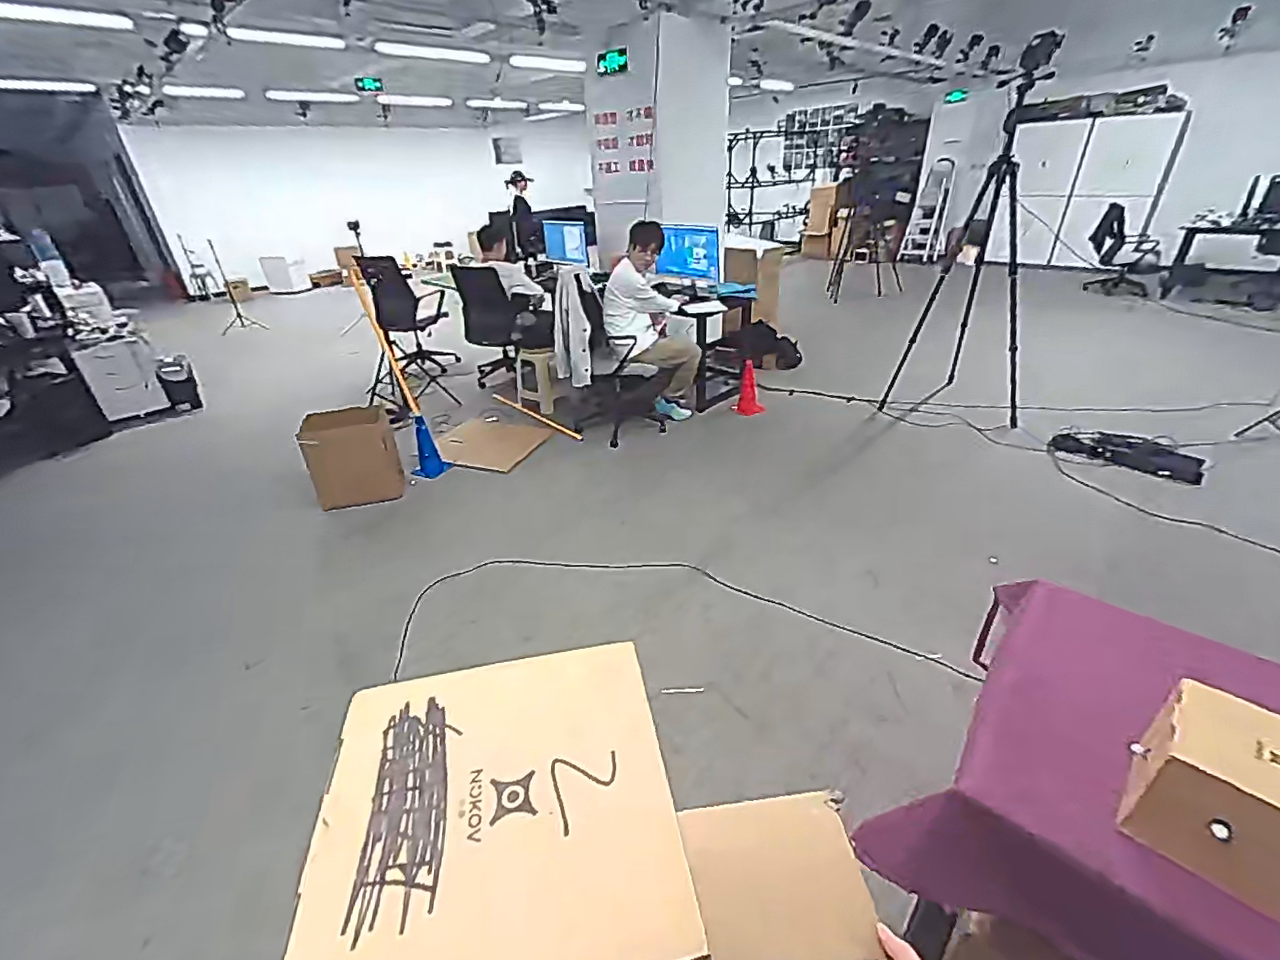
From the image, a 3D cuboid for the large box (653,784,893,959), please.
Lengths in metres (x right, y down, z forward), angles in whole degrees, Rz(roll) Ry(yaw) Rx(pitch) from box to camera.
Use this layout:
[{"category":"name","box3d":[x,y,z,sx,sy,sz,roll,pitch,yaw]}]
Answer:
[{"category":"large box","box3d":[0.032,0.566,0.545,0.408,0.320,0.320,-5,36,-5]}]

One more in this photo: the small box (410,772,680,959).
[{"category":"small box","box3d":[-0.064,0.363,0.417,0.179,0.176,0.168,-8,34,-7]}]

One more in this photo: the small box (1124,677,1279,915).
[{"category":"small box","box3d":[0.768,0.401,0.693,0.168,0.176,0.179,-29,38,-36]}]
